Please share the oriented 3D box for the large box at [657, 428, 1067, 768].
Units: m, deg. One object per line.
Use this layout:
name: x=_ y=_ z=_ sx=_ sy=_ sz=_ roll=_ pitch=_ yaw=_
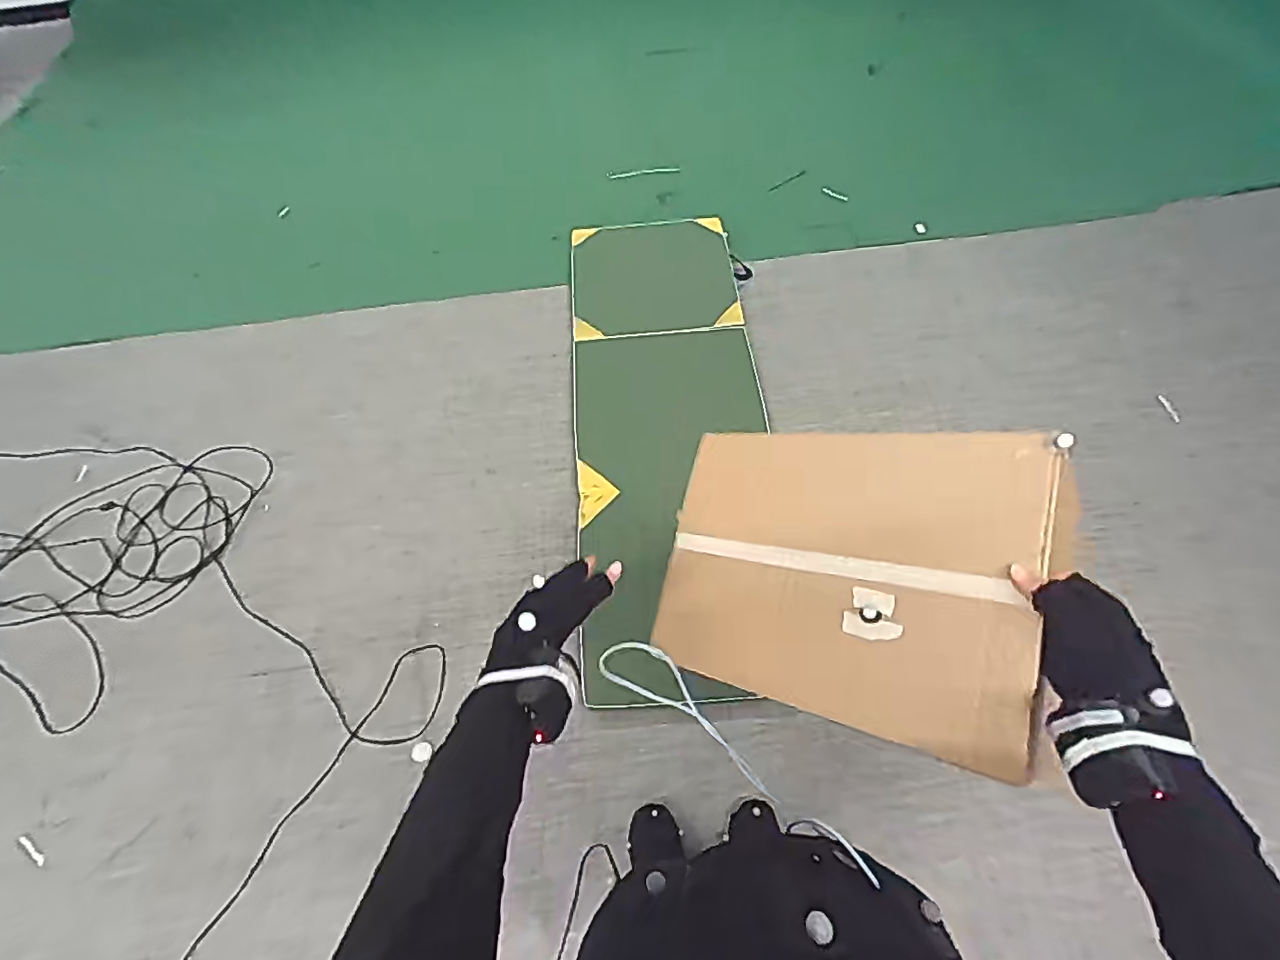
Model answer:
large box: x=0.295 y=0.139 z=0.710 sx=0.408 sy=0.320 sz=0.320 roll=3 pitch=73 yaw=40
